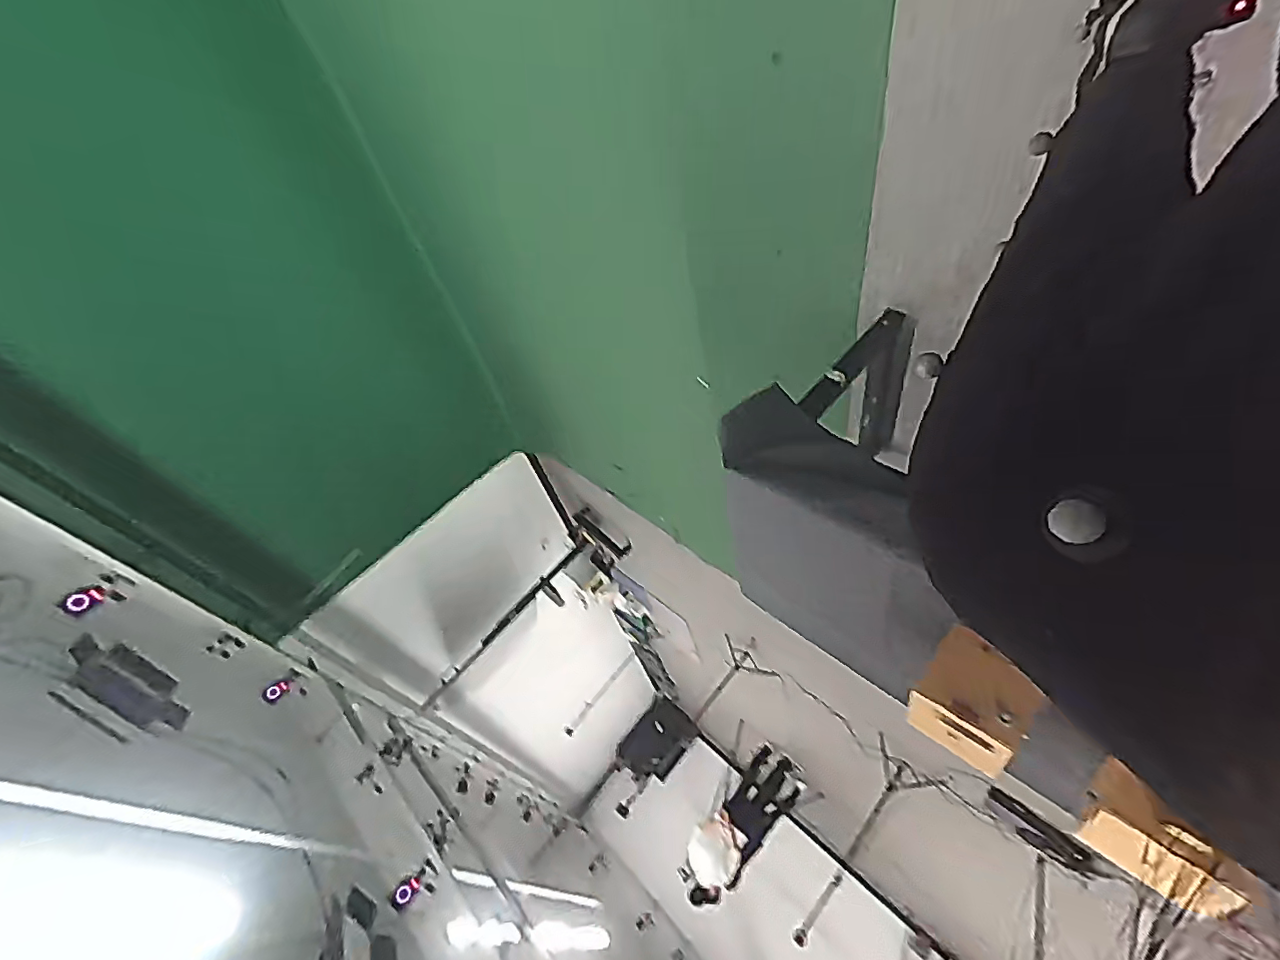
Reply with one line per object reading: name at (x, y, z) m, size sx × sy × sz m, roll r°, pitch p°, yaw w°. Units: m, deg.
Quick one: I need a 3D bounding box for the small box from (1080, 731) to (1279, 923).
small box at (0.834, 0.532, 0.838) m, size 0.168 × 0.176 × 0.179 m, roll 29°, pitch 152°, yaw 39°
